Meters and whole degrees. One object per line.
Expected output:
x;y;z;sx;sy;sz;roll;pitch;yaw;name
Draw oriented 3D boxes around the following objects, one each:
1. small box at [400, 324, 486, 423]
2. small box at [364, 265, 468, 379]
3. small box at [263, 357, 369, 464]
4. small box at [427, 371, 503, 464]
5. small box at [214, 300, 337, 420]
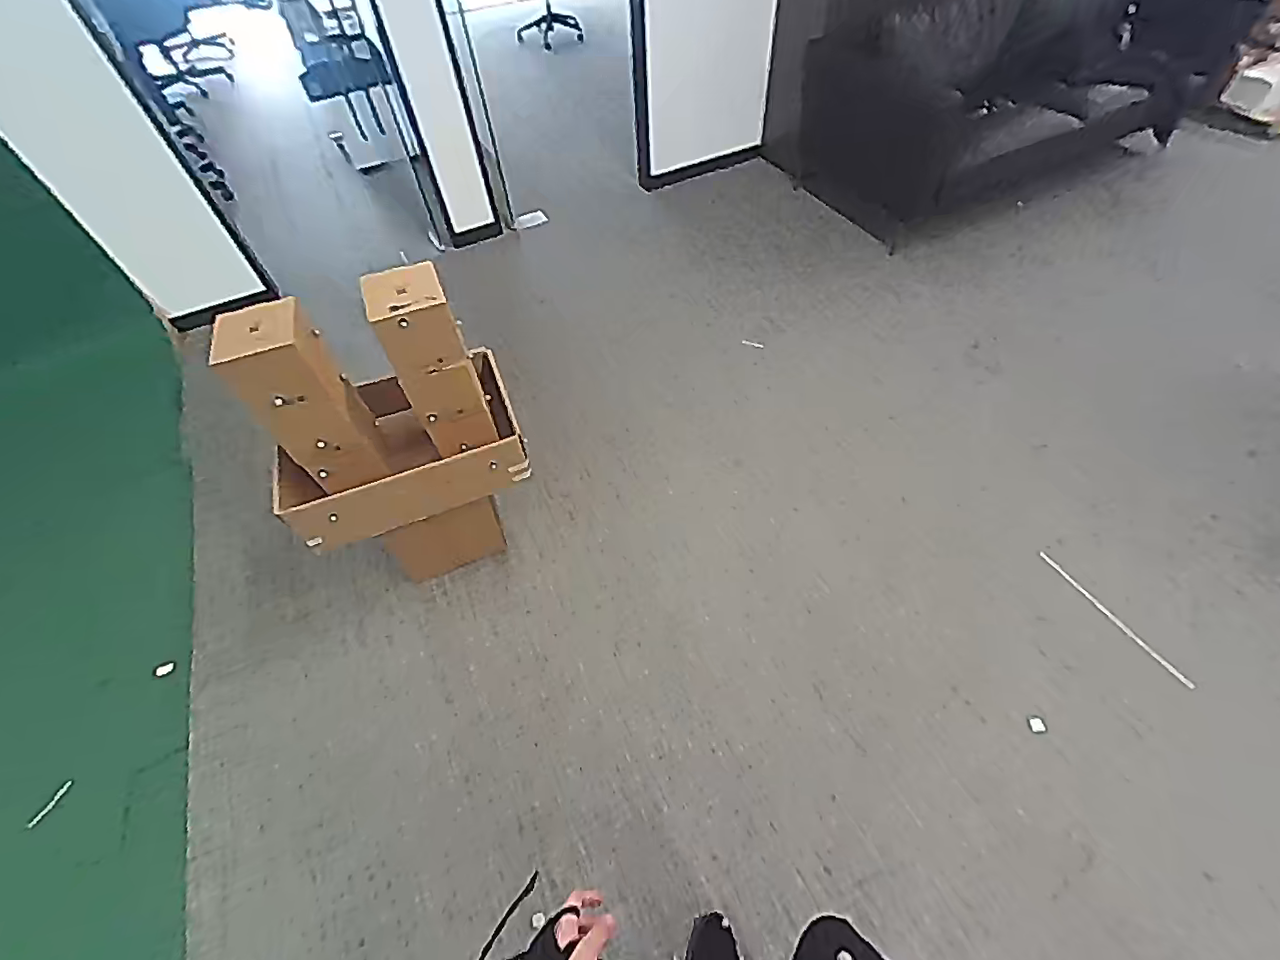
-0.510;-0.268;1.395;0.168;0.176;0.179;-18;55;-10;small box
-0.520;-0.369;1.266;0.168;0.176;0.179;-20;55;-11;small box
-0.794;-0.170;1.340;0.168;0.176;0.179;-18;55;-9;small box
-0.503;-0.177;1.532;0.168;0.176;0.179;-19;56;-11;small box
-0.802;-0.266;1.209;0.168;0.176;0.179;-19;55;-9;small box
